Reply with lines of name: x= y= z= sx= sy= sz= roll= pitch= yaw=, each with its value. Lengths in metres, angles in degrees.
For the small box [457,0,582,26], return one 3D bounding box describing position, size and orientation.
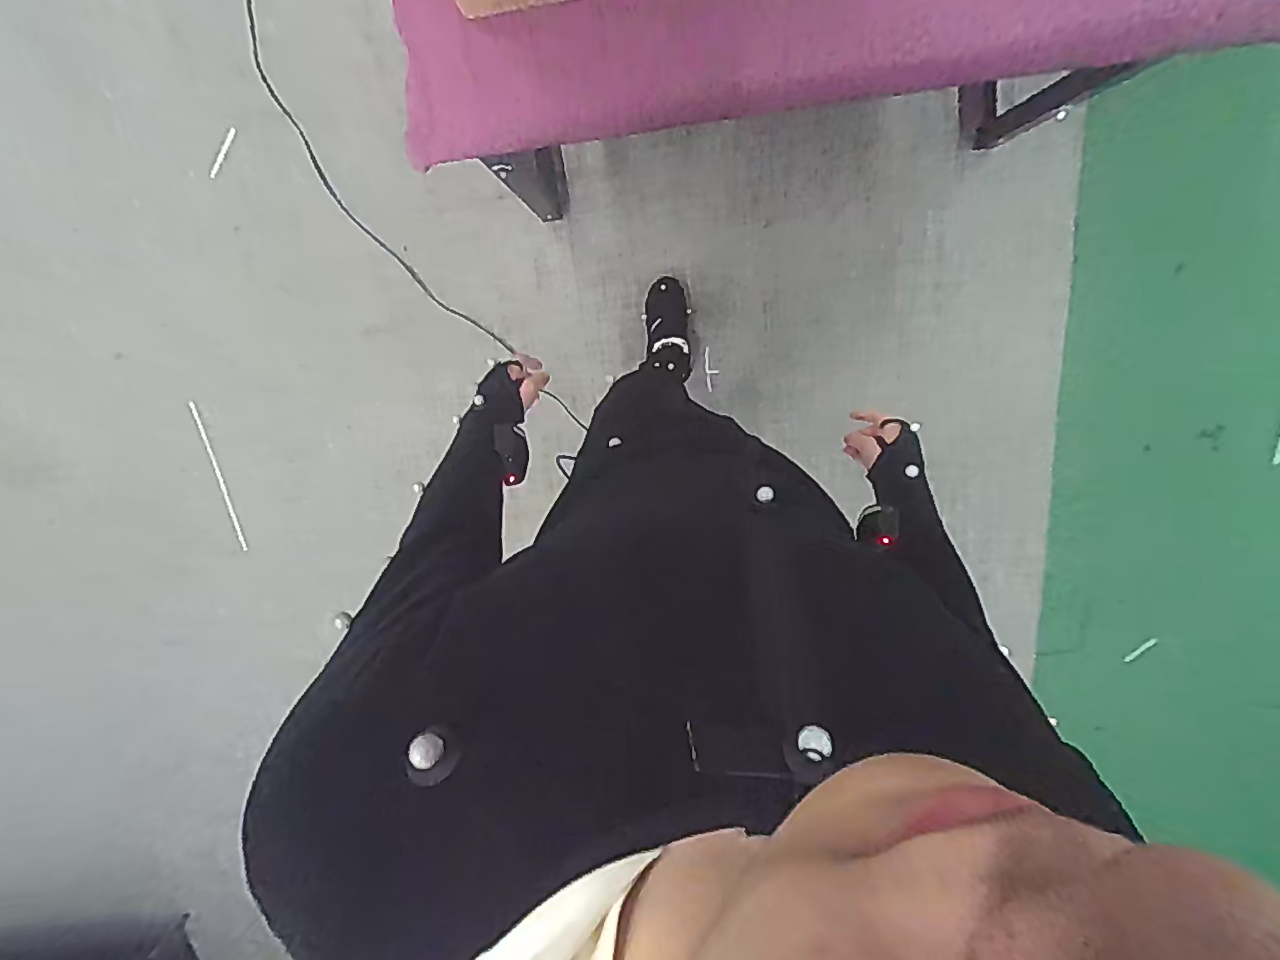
small box: x=-0.165 y=-0.671 z=0.611 sx=0.168 sy=0.176 sz=0.179 roll=-8 pitch=104 yaw=4
